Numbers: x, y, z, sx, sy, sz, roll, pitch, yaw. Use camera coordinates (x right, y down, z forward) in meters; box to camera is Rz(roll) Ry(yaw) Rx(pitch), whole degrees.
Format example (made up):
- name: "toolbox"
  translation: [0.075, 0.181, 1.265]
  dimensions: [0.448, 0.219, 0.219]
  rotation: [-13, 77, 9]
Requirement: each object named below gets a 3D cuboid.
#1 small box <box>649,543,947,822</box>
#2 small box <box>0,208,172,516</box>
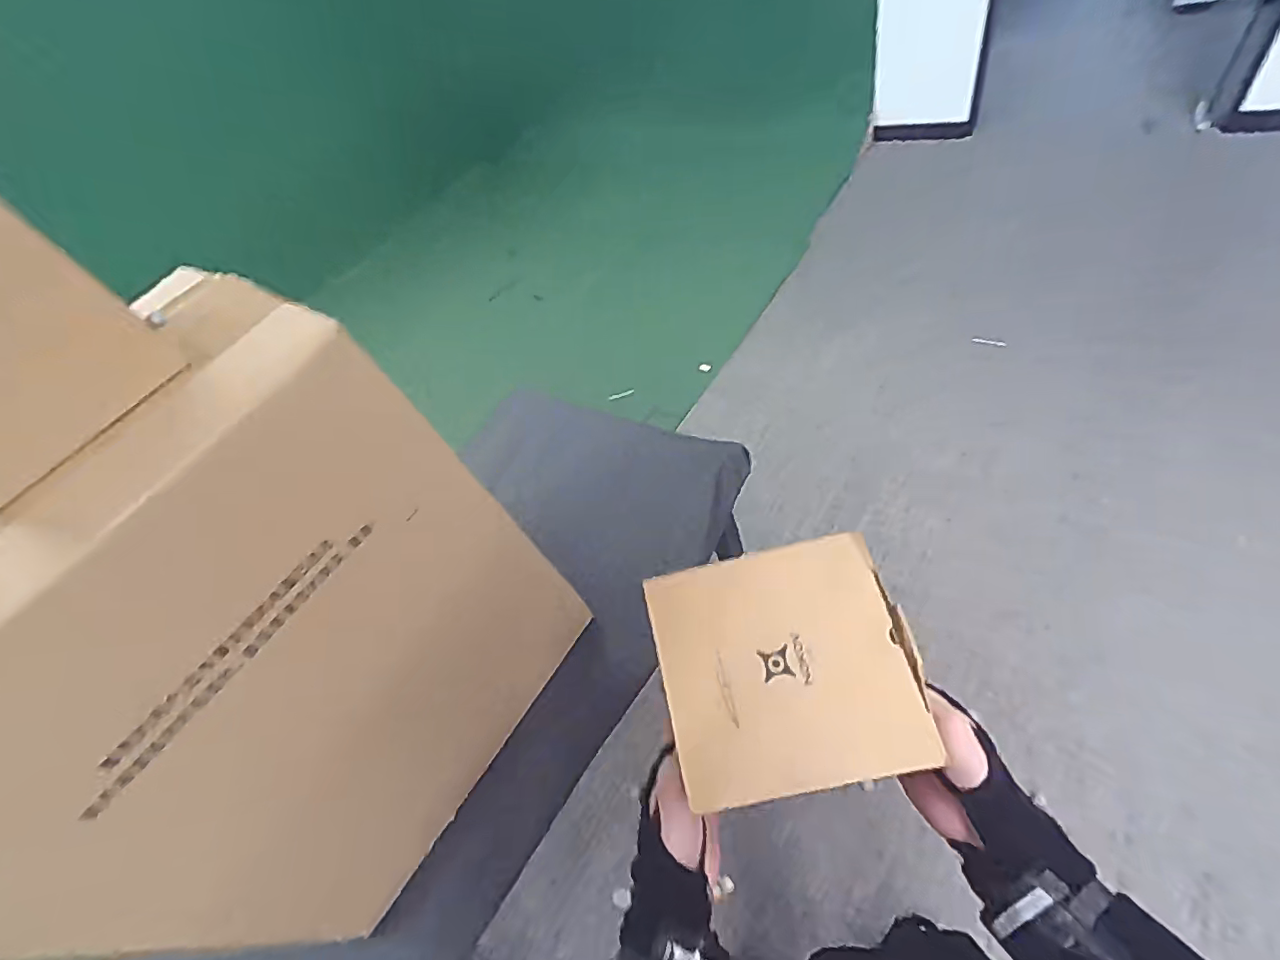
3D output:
- name: "small box"
  translation: [0.119, 0.173, 0.465]
  dimensions: [0.179, 0.176, 0.168]
  rotation: [-16, 62, 5]
- name: "small box"
  translation: [-0.511, -0.106, 0.408]
  dimensions: [0.168, 0.176, 0.179]
  rotation: [26, 67, 28]
